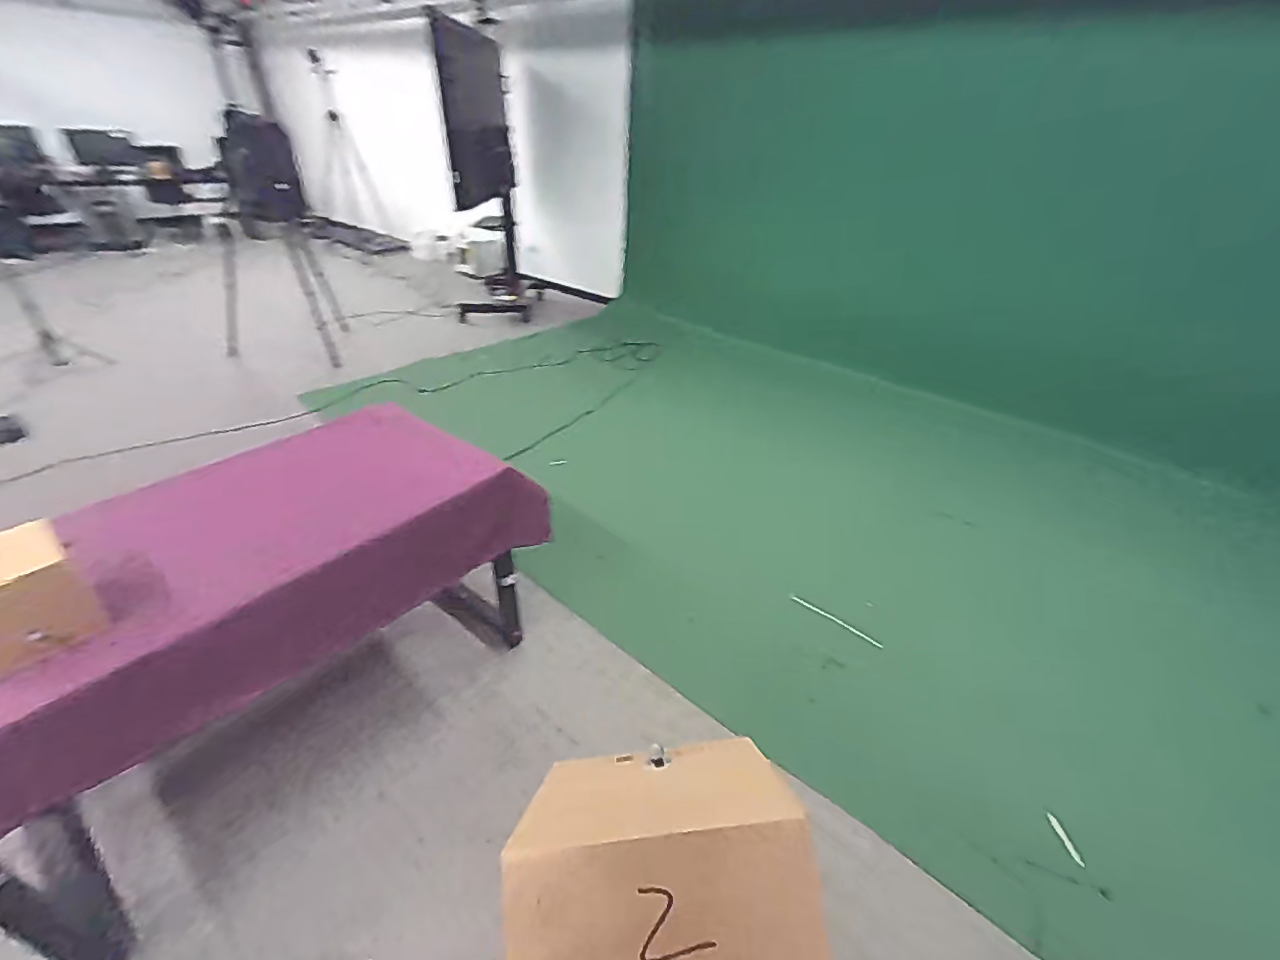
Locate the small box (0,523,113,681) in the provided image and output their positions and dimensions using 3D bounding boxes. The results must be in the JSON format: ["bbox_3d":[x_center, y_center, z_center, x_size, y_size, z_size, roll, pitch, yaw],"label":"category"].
[{"bbox_3d":[-1.072,0.208,0.934,0.179,0.176,0.168,25,39,31],"label":"small box"}]
